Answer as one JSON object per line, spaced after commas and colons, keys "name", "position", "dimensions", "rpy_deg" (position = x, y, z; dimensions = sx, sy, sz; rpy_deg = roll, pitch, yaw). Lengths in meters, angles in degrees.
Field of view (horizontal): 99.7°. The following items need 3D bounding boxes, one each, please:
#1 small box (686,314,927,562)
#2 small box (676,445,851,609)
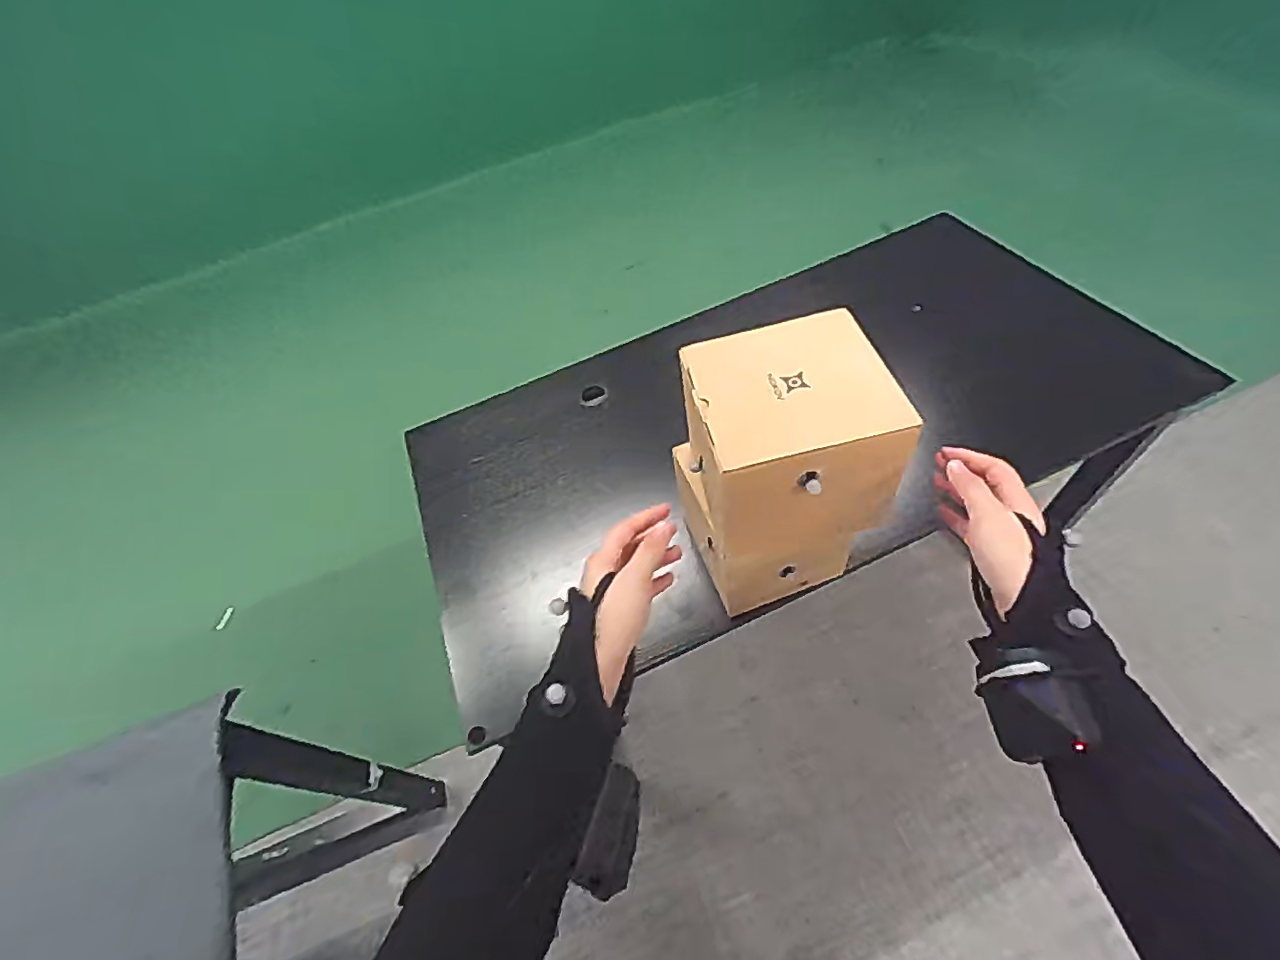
{"name": "small box", "position": [0.154, -0.037, 0.560], "dimensions": [0.179, 0.176, 0.168], "rpy_deg": [-14, 53, 1]}
{"name": "small box", "position": [0.159, 0.048, 0.701], "dimensions": [0.168, 0.176, 0.179], "rpy_deg": [-20, 53, -4]}
